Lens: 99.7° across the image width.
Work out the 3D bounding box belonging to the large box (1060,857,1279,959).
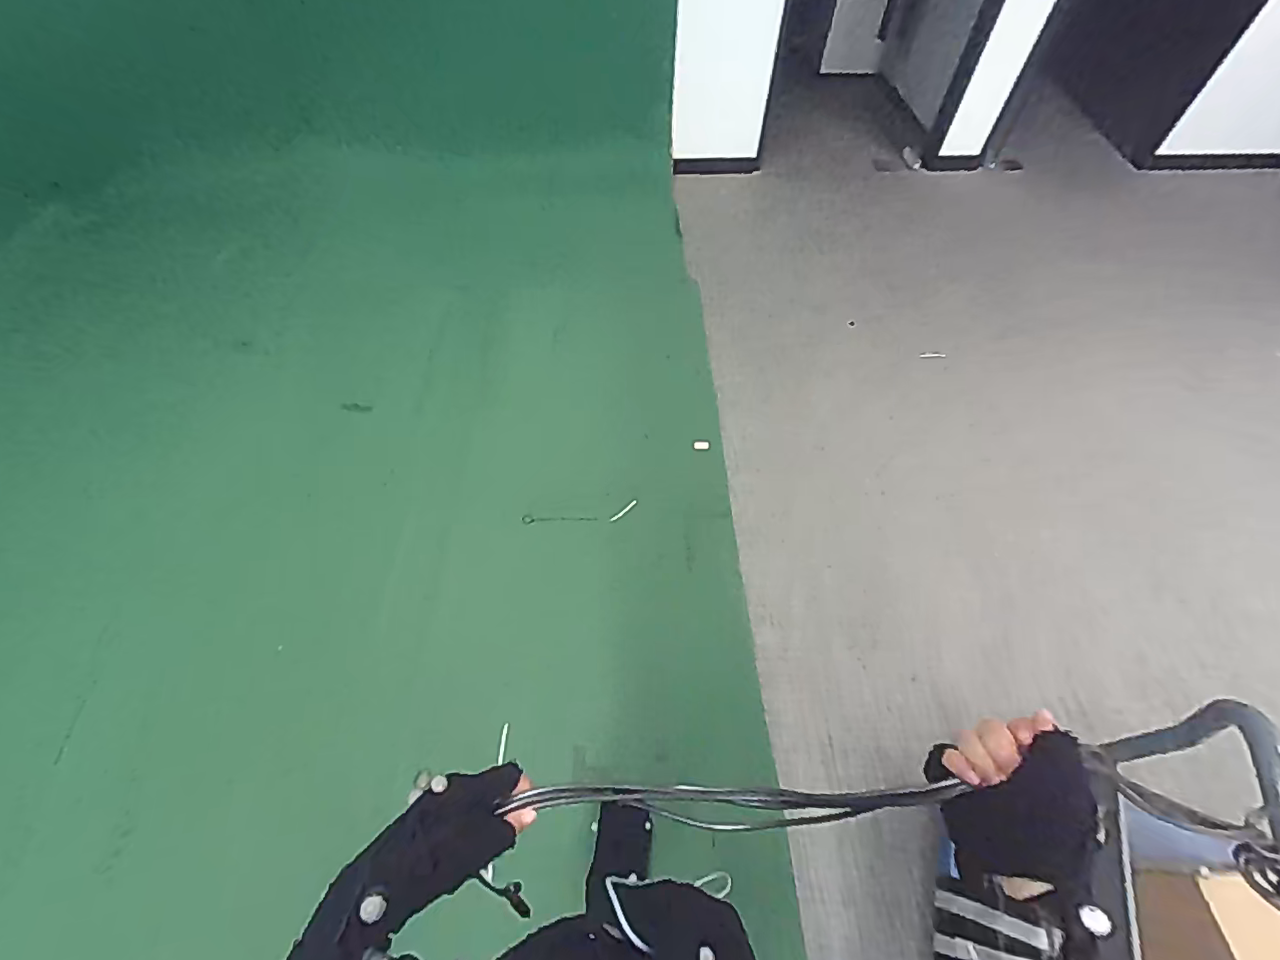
[{"bbox_3d":[0.966,0.825,0.819,0.320,0.320,0.408,-1,55,-1],"label":"large box"}]
